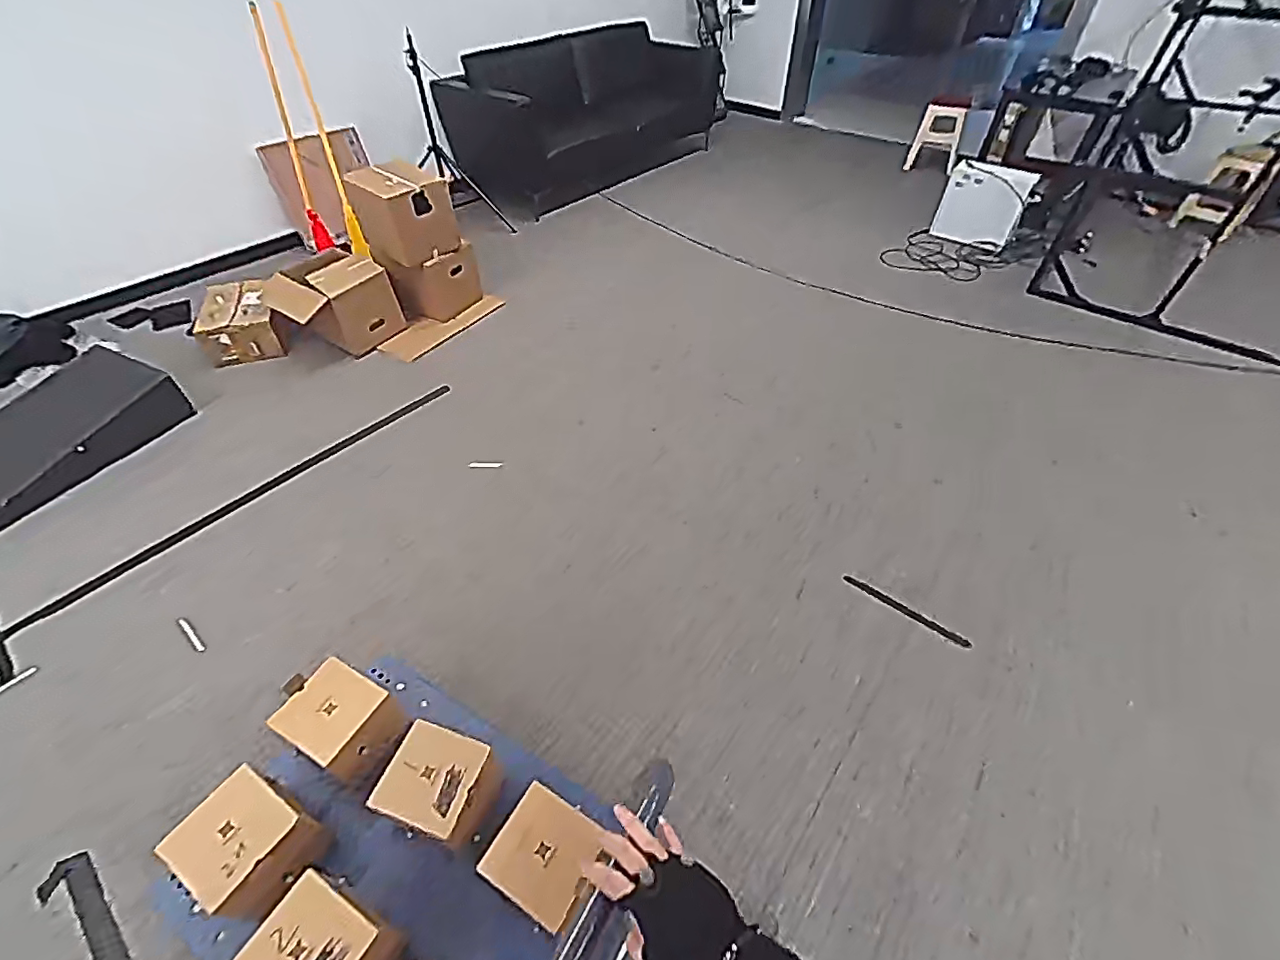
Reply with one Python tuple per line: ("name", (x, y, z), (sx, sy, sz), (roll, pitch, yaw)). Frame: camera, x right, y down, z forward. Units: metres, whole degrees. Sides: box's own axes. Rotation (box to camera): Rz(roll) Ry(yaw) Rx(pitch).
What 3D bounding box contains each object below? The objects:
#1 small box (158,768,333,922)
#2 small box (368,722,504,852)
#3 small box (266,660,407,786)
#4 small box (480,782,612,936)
("small box", (-0.722, 0.684, 1.009), (0.179, 0.176, 0.168), (25, 51, 20))
("small box", (-0.394, 0.618, 1.083), (0.179, 0.176, 0.168), (14, 48, 12))
("small box", (-0.639, 0.527, 1.163), (0.179, 0.176, 0.168), (21, 50, 17))
("small box", (-0.164, 0.707, 1.007), (0.179, 0.176, 0.168), (23, 50, 20))
